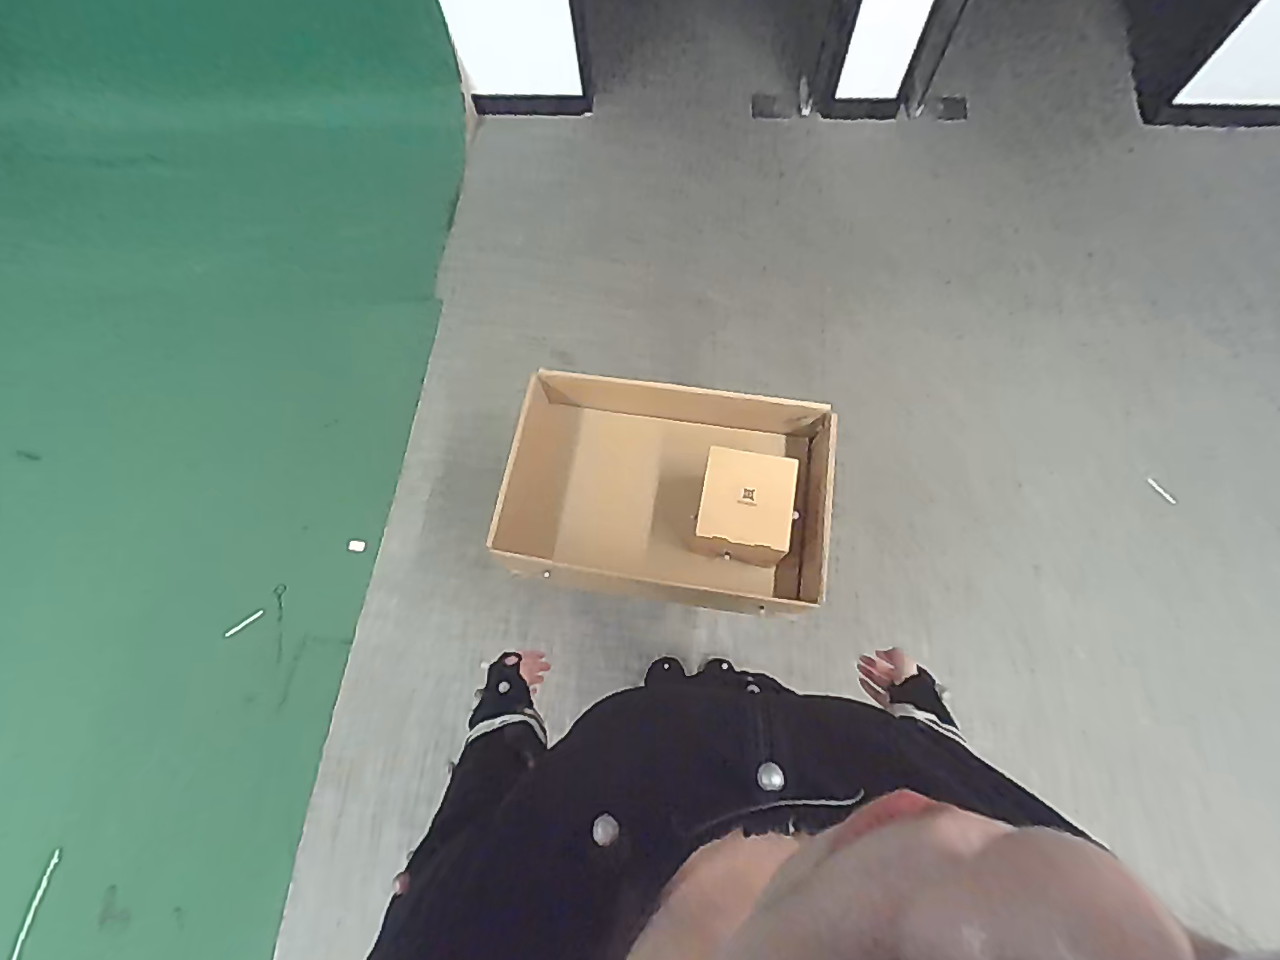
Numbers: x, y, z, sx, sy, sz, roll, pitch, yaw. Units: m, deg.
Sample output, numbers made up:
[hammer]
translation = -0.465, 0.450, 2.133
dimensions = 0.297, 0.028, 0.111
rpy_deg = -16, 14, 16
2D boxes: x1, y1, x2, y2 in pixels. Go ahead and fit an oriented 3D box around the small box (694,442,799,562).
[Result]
[small box]
translation = 0.199, 0.048, 1.044
dimensions = 0.168, 0.176, 0.179
rpy_deg = 10, 73, 7
